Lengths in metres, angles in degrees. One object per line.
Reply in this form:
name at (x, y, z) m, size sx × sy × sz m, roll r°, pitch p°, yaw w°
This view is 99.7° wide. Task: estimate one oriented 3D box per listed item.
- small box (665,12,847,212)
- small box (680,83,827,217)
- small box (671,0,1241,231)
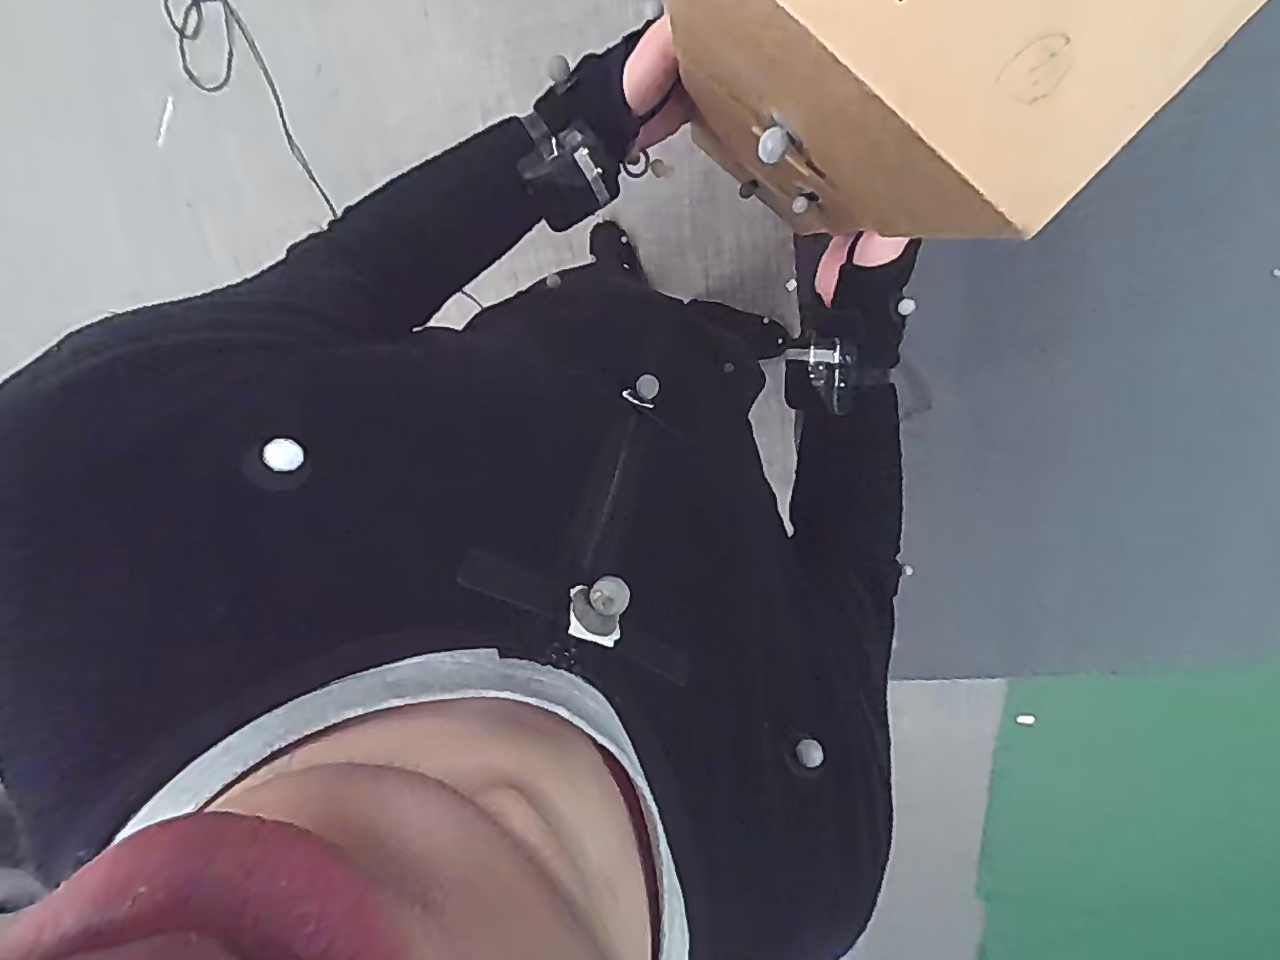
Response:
small box at (0.136, -0.298, 0.351) m, size 0.168 × 0.176 × 0.179 m, roll 34°, pitch 113°, yaw -9°
small box at (0.157, -0.368, 0.496) m, size 0.168 × 0.176 × 0.179 m, roll 36°, pitch 114°, yaw -10°
small box at (0.119, -0.224, 0.205) m, size 0.168 × 0.176 × 0.179 m, roll 35°, pitch 115°, yaw -10°
